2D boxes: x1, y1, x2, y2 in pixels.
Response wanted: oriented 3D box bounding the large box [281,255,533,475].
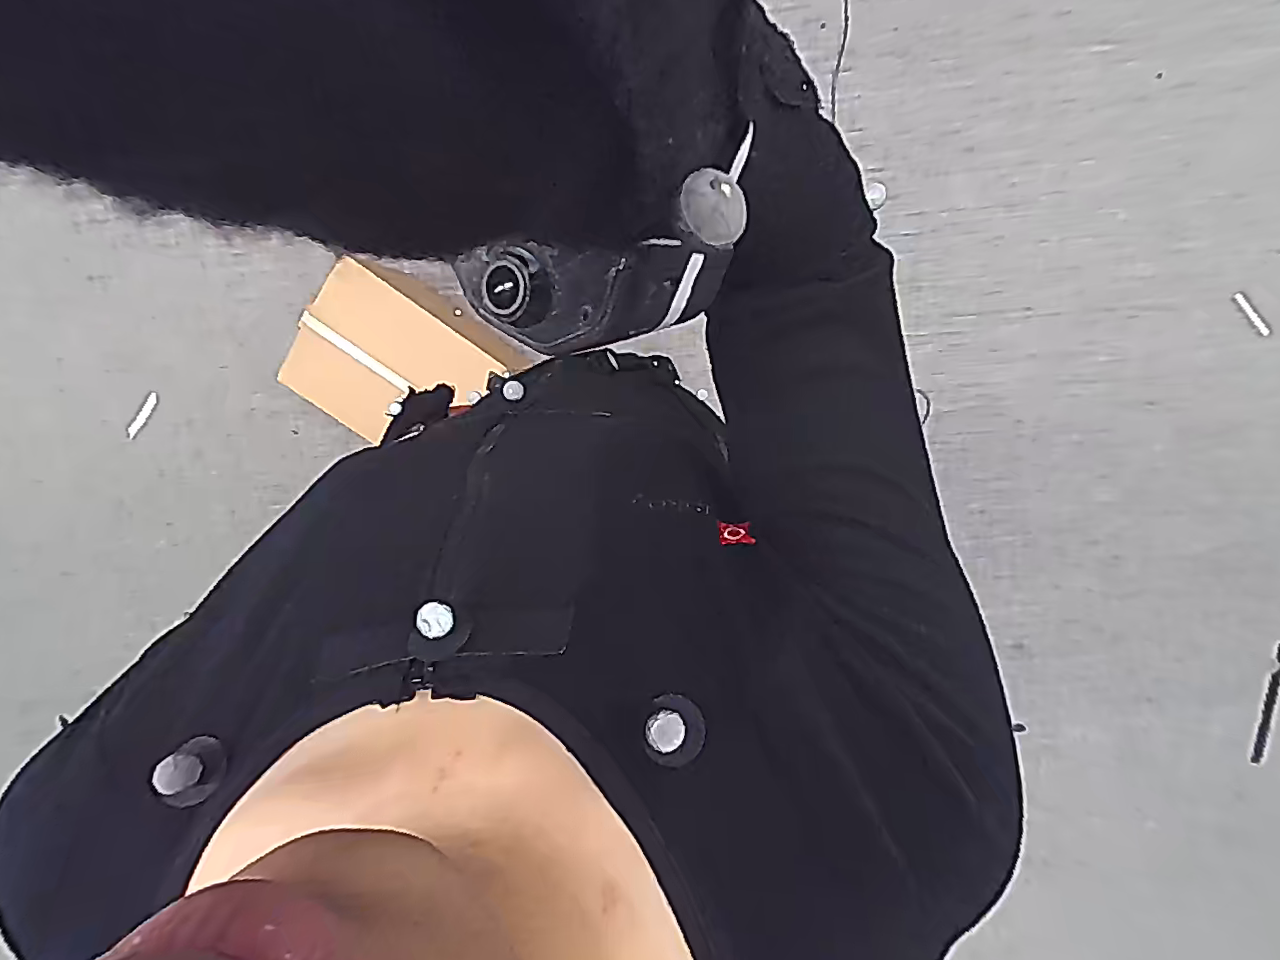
[{"bbox_3d":[-0.532,-0.272,1.308,0.408,0.320,0.320,34,102,-7],"label":"large box"}]
